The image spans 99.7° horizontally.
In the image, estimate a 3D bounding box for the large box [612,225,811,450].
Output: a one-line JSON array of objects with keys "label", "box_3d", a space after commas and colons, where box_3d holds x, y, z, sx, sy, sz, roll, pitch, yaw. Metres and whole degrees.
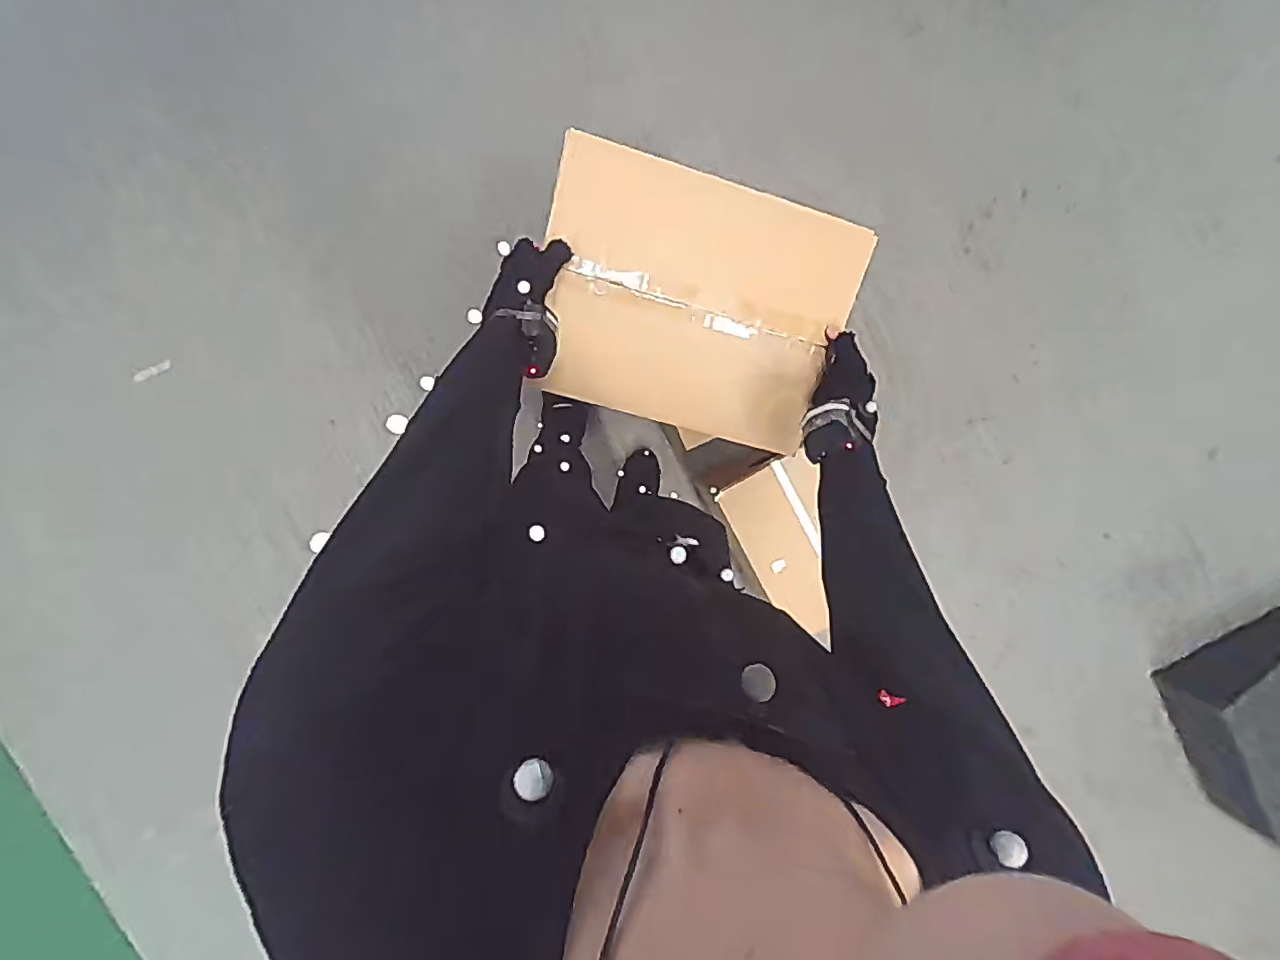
[{"label": "large box", "box_3d": [0.157, -0.317, 1.319, 0.320, 0.320, 0.408, -24, 94, 0]}]
